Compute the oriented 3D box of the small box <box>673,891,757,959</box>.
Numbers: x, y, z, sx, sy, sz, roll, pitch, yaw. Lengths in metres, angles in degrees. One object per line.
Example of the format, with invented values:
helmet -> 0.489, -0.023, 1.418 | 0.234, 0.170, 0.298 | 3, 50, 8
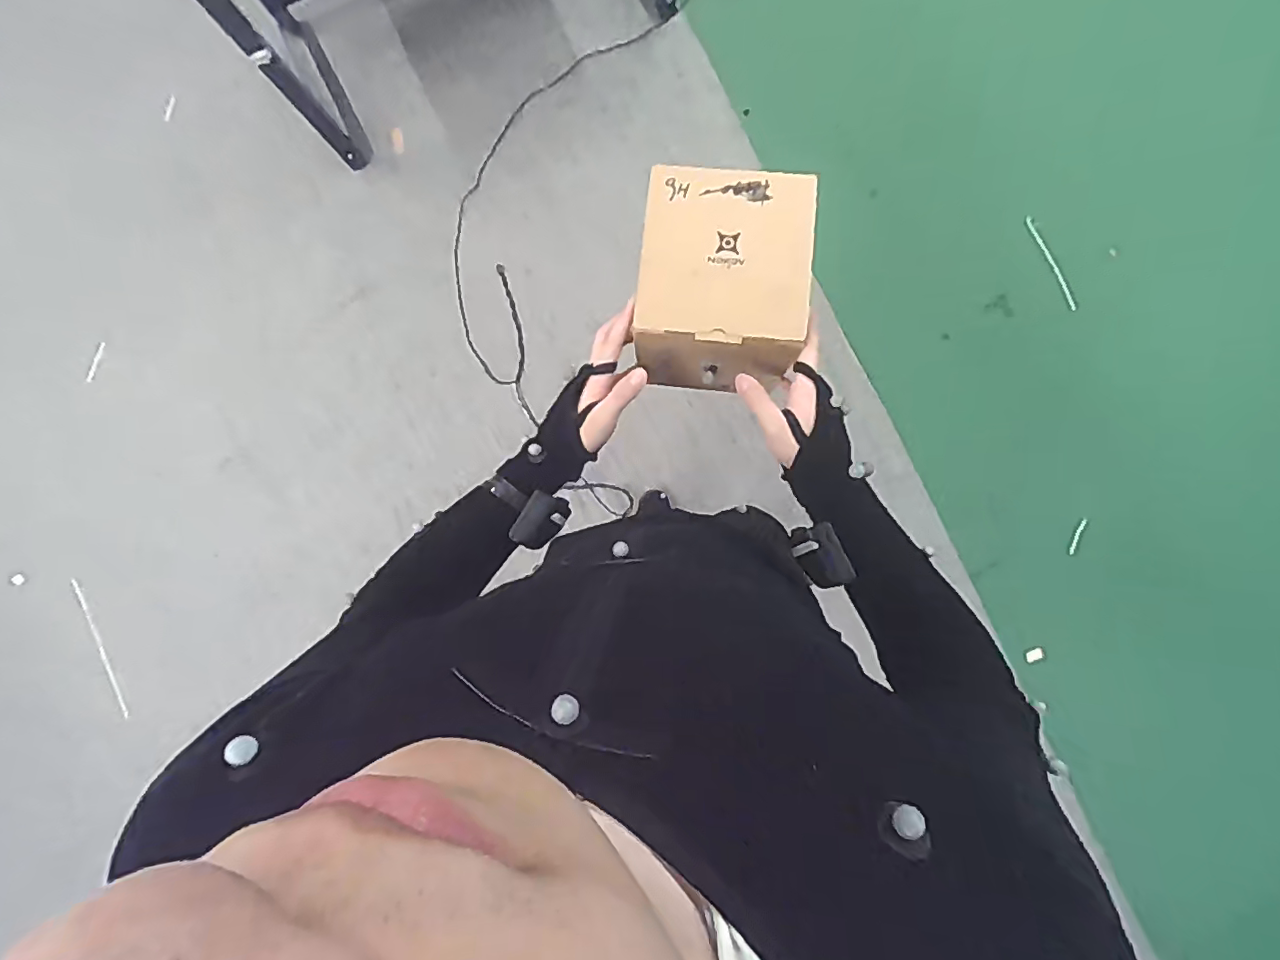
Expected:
small box -> 0.185, 1.143, 1.307 | 0.168, 0.176, 0.179 | -22, 85, 0
